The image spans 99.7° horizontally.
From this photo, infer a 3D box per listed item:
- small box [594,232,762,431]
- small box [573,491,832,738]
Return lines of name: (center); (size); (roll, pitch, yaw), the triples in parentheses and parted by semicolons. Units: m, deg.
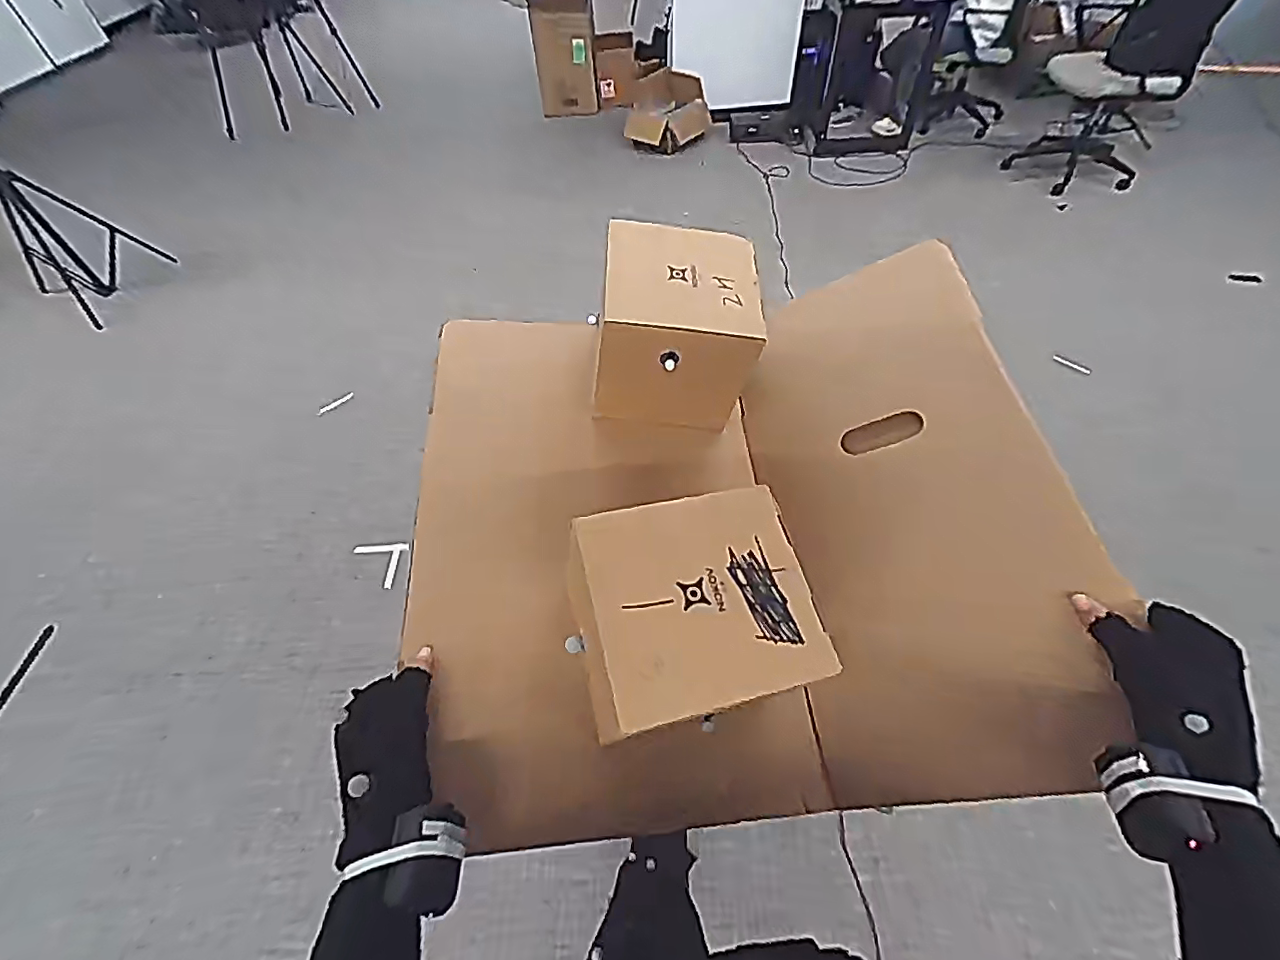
small box: (0.036, -0.177, 0.679); (0.179, 0.176, 0.168); (5, 60, -7)
small box: (0.039, 0.130, 0.504); (0.179, 0.176, 0.168); (-10, 63, -14)
